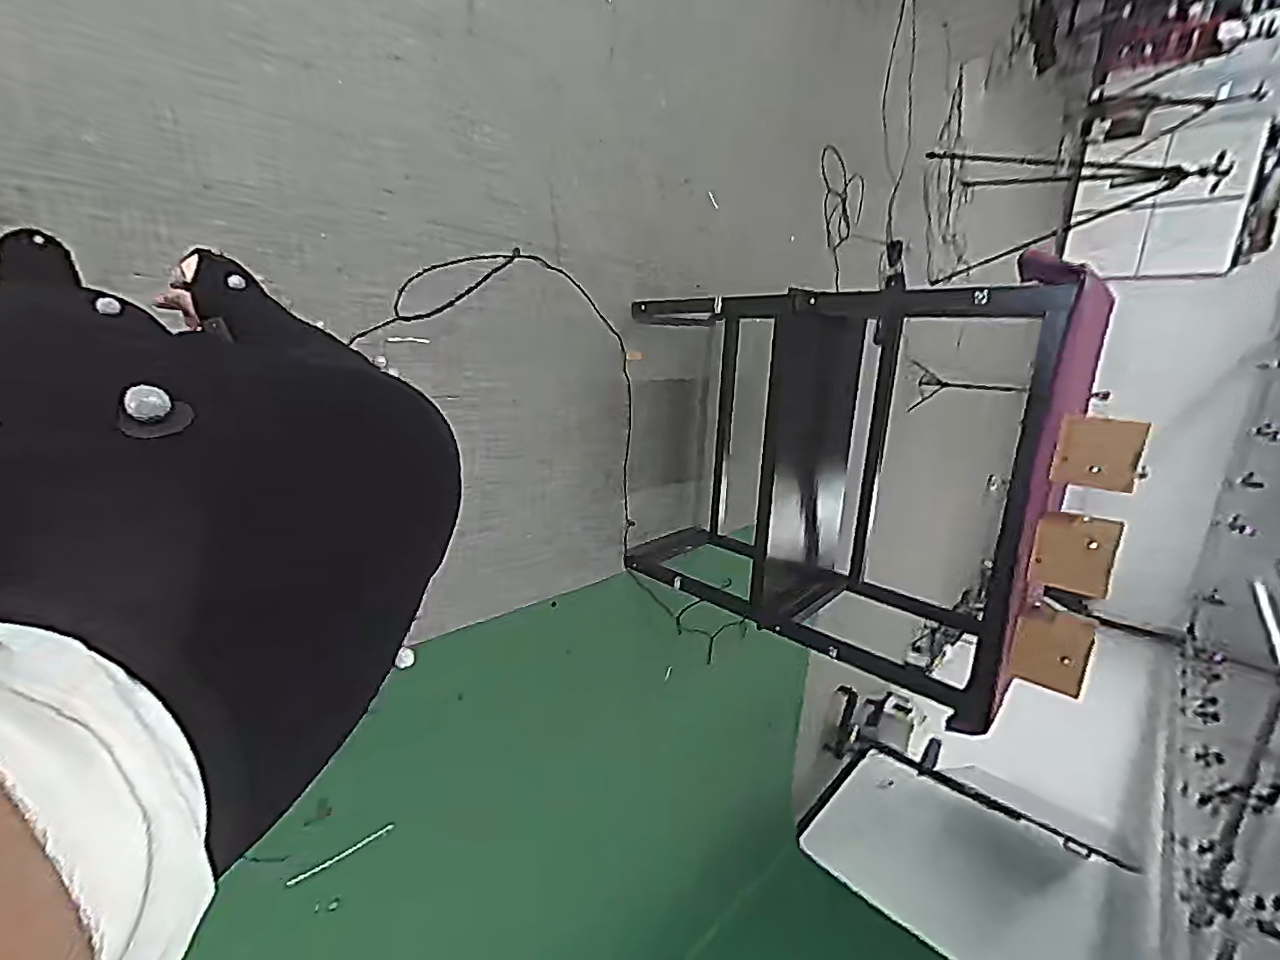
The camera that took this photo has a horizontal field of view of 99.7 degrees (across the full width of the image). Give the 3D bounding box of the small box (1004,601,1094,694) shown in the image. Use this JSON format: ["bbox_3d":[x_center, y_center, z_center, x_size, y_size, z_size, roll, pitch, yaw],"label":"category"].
[{"bbox_3d":[1.135,0.454,1.505,0.168,0.176,0.179,-13,110,-46],"label":"small box"}]

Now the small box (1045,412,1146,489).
[{"bbox_3d":[1.150,-0.082,1.371,0.179,0.176,0.168,-11,110,-47],"label":"small box"}]
